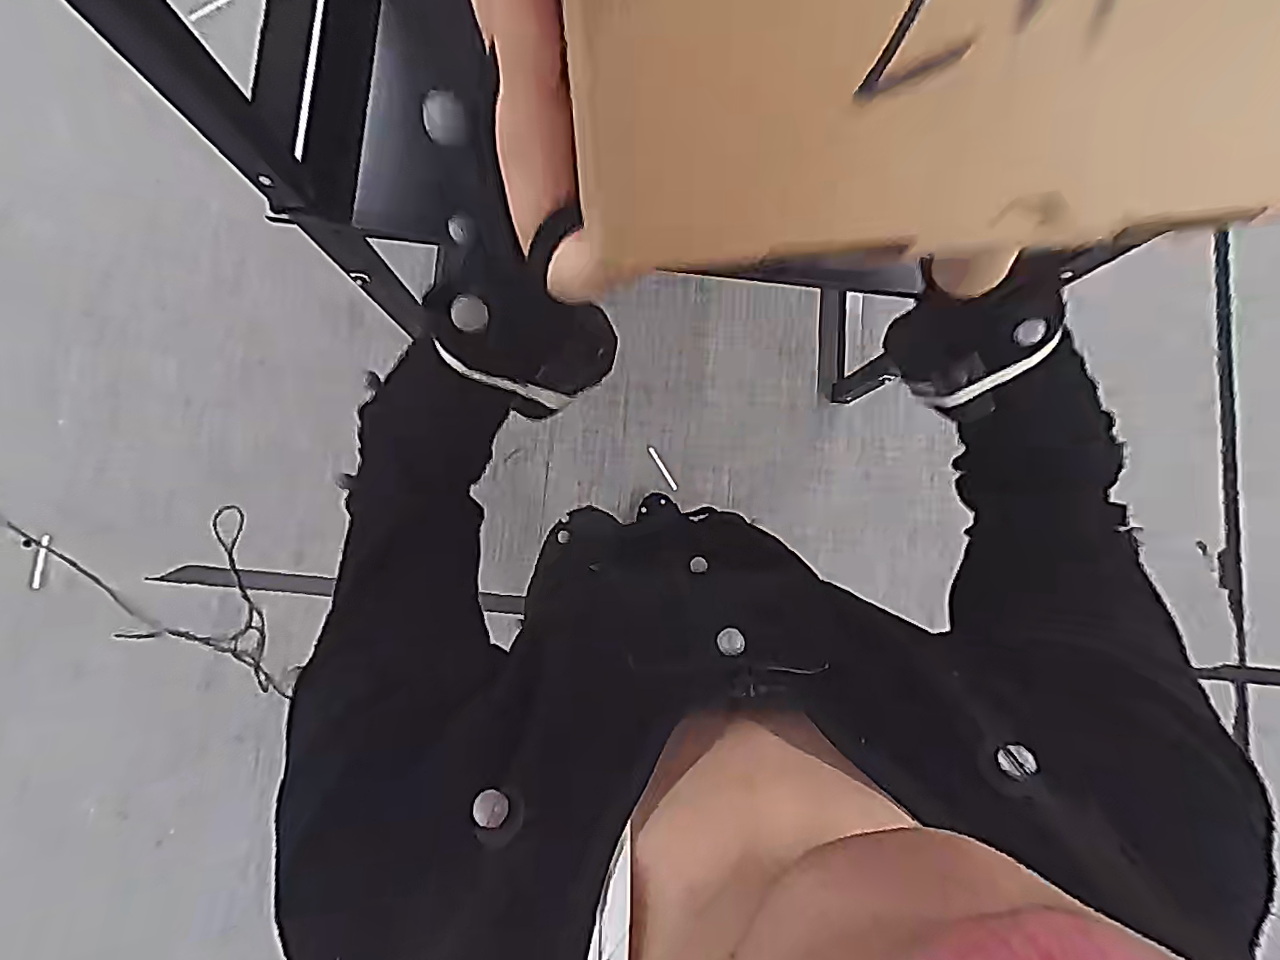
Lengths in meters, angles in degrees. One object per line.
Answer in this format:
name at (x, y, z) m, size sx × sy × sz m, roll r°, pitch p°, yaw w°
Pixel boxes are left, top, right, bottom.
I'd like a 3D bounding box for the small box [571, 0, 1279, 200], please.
small box at (0.065, -0.168, 0.114) m, size 0.168 × 0.176 × 0.179 m, roll -6°, pitch 123°, yaw -4°
